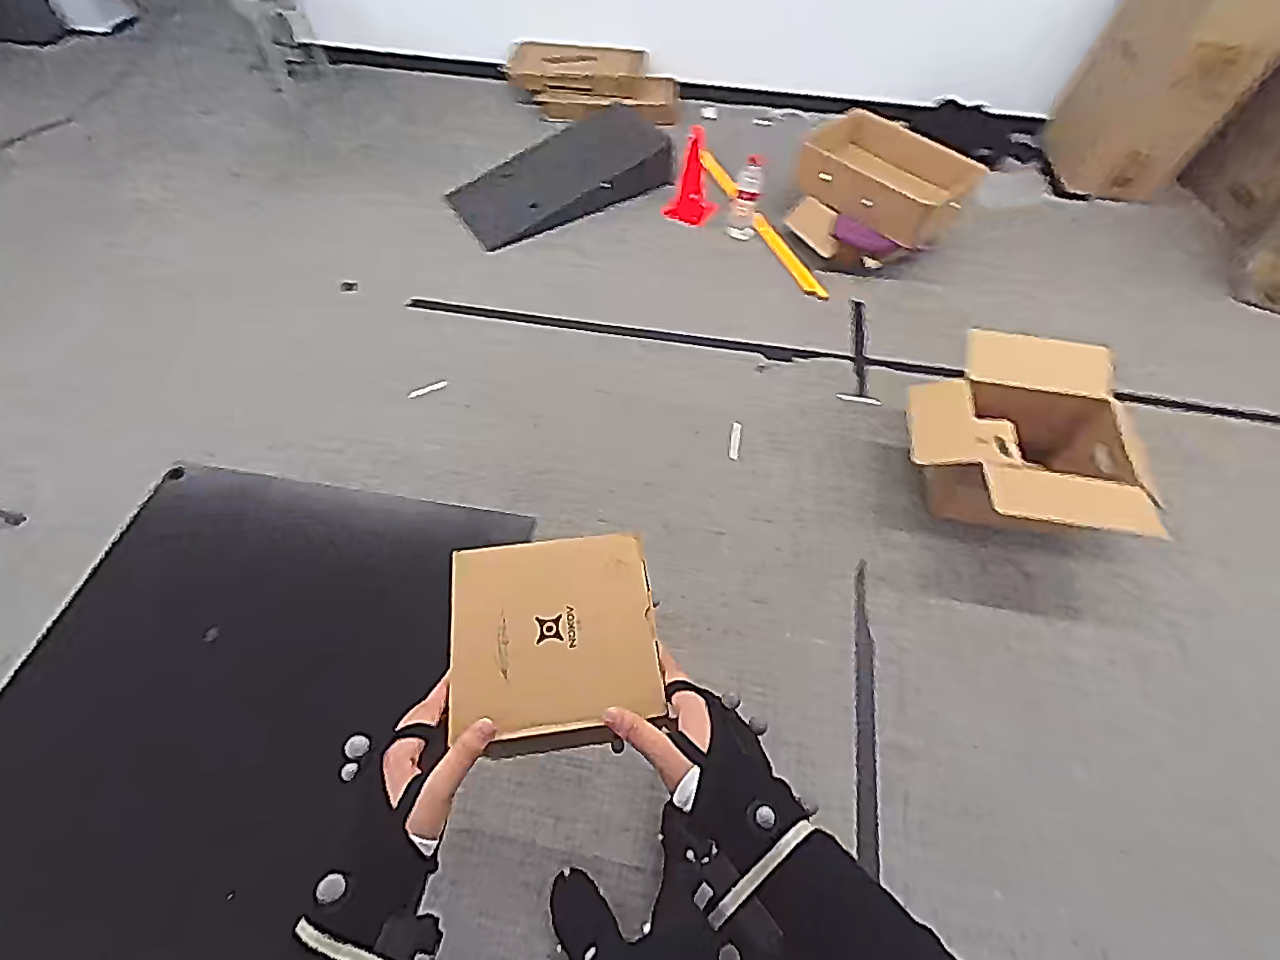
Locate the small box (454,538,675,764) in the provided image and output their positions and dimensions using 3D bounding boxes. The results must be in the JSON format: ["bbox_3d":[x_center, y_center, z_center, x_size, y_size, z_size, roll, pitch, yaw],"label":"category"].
[{"bbox_3d":[-0.069,0.173,0.530,0.179,0.176,0.168,-7,59,-4],"label":"small box"}]
